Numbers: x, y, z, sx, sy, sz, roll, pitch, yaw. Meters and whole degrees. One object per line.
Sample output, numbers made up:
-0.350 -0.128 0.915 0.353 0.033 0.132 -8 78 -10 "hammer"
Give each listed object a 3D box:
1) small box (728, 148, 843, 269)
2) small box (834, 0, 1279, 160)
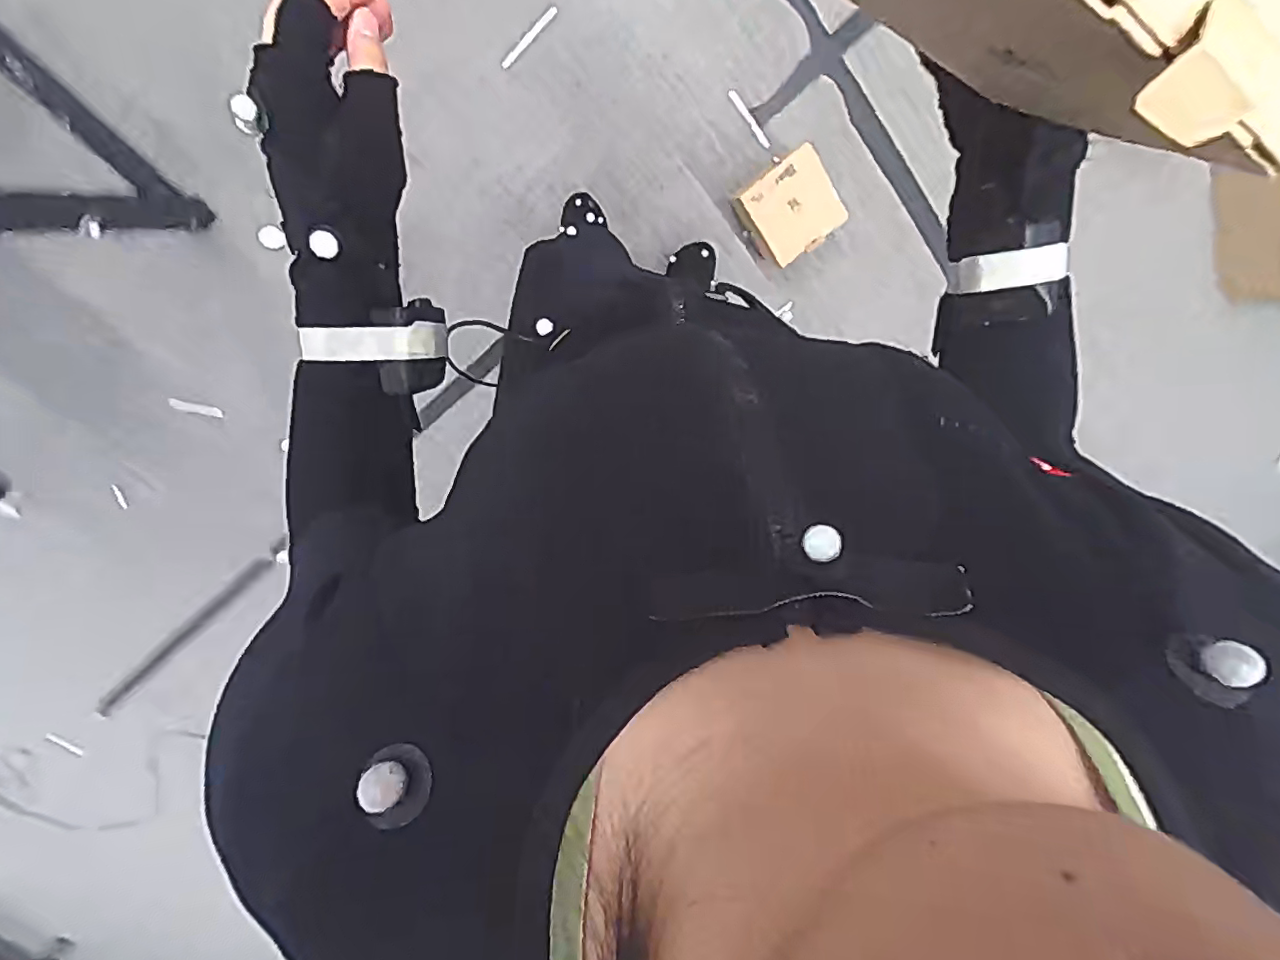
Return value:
0.316 -0.601 1.201 0.168 0.176 0.179 -34 113 14 "small box"
0.196 -0.257 0.202 0.168 0.179 0.176 8 129 -26 "small box"
